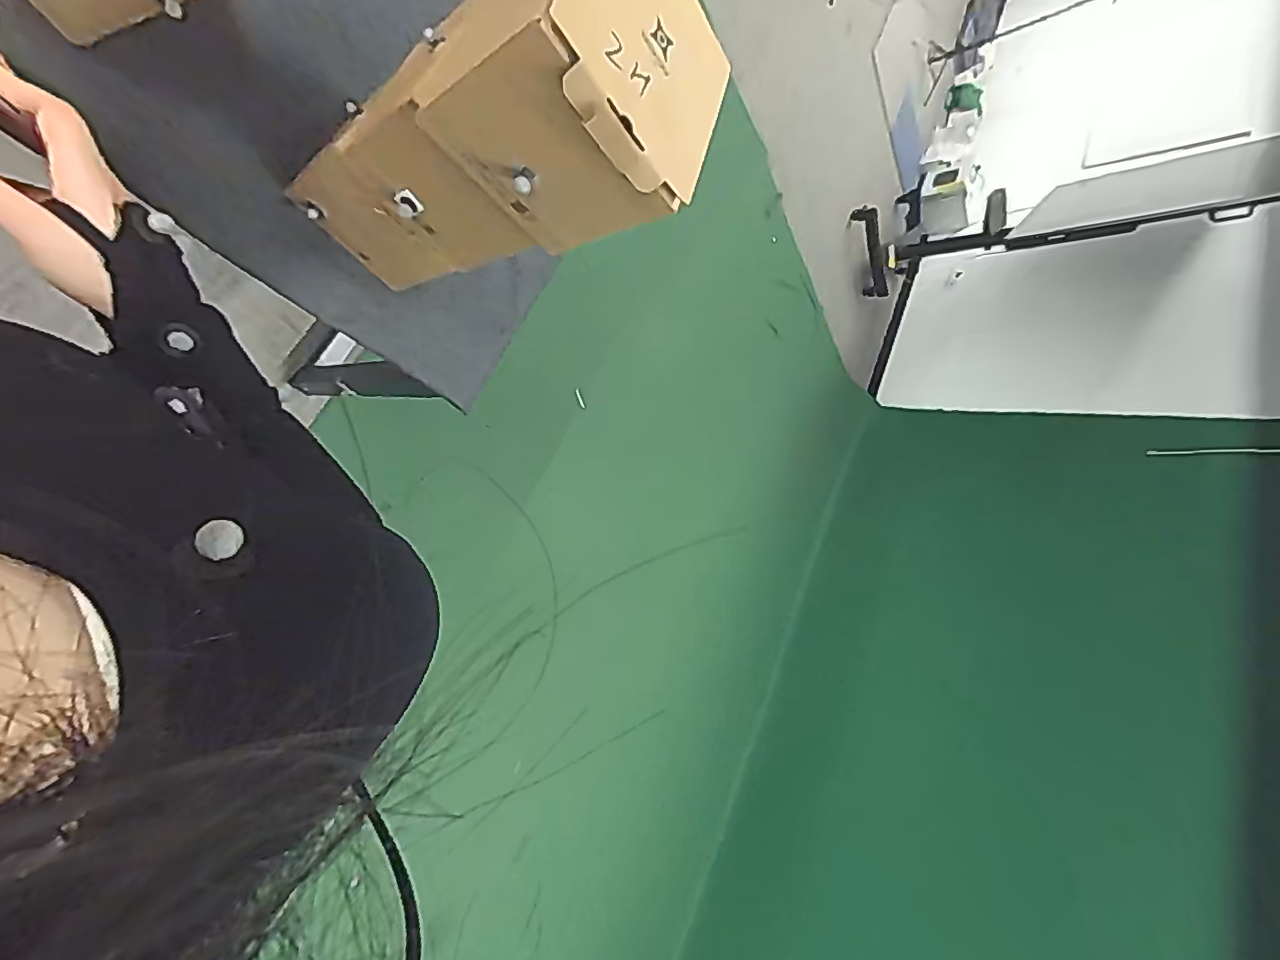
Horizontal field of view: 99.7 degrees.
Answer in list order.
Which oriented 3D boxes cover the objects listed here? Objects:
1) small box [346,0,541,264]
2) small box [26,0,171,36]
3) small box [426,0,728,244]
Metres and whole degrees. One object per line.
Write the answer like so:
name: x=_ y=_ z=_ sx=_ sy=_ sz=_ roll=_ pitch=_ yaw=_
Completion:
small box: x=-0.176 y=-0.363 z=0.576 sx=0.168 sy=0.176 sz=0.179 roll=38 pitch=67 yaw=-44
small box: x=-0.478 y=-0.527 z=0.452 sx=0.168 sy=0.176 sz=0.179 roll=53 pitch=55 yaw=-39
small box: x=-0.053 y=-0.342 z=0.468 sx=0.168 sy=0.176 sz=0.179 roll=34 pitch=69 yaw=-44
